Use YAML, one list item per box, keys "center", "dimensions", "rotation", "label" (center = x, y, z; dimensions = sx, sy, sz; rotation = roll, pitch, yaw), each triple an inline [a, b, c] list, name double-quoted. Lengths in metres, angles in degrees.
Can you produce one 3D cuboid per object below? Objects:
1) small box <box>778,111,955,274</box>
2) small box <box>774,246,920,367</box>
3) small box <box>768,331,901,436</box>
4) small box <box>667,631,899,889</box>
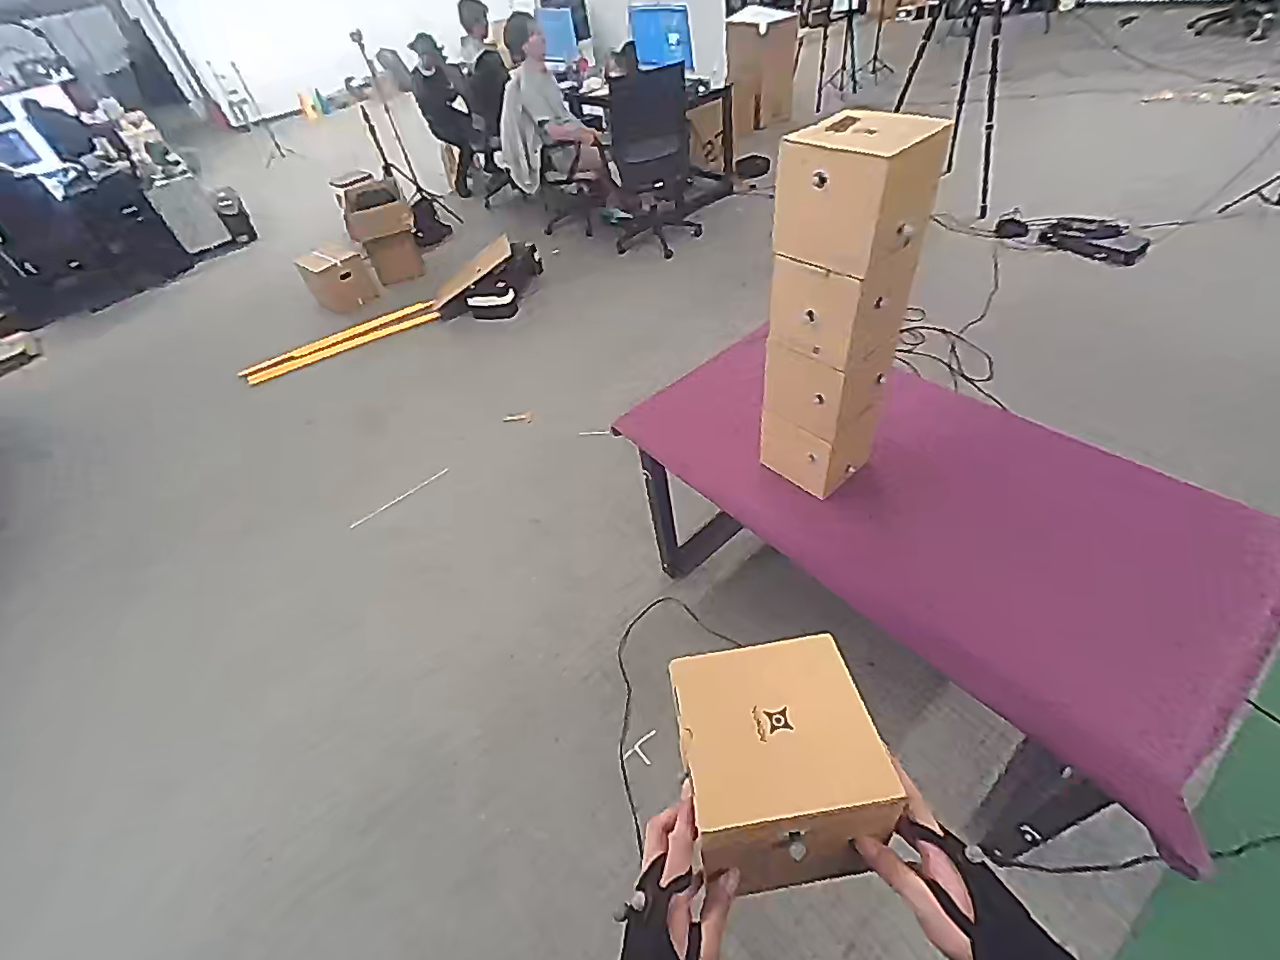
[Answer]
- center: [0.328, -0.435, 0.820]
  dimensions: [0.168, 0.176, 0.179]
  rotation: [-36, 52, -23]
  label: "small box"
- center: [0.352, -0.324, 0.941]
  dimensions: [0.179, 0.176, 0.168]
  rotation: [-36, 51, -22]
  label: "small box"
- center: [0.369, -0.209, 1.055]
  dimensions: [0.168, 0.176, 0.179]
  rotation: [-35, 50, -22]
  label: "small box"
- center: [0.131, 0.284, 0.552]
  dimensions: [0.179, 0.176, 0.168]
  rotation: [-11, 37, 0]
  label: "small box"
